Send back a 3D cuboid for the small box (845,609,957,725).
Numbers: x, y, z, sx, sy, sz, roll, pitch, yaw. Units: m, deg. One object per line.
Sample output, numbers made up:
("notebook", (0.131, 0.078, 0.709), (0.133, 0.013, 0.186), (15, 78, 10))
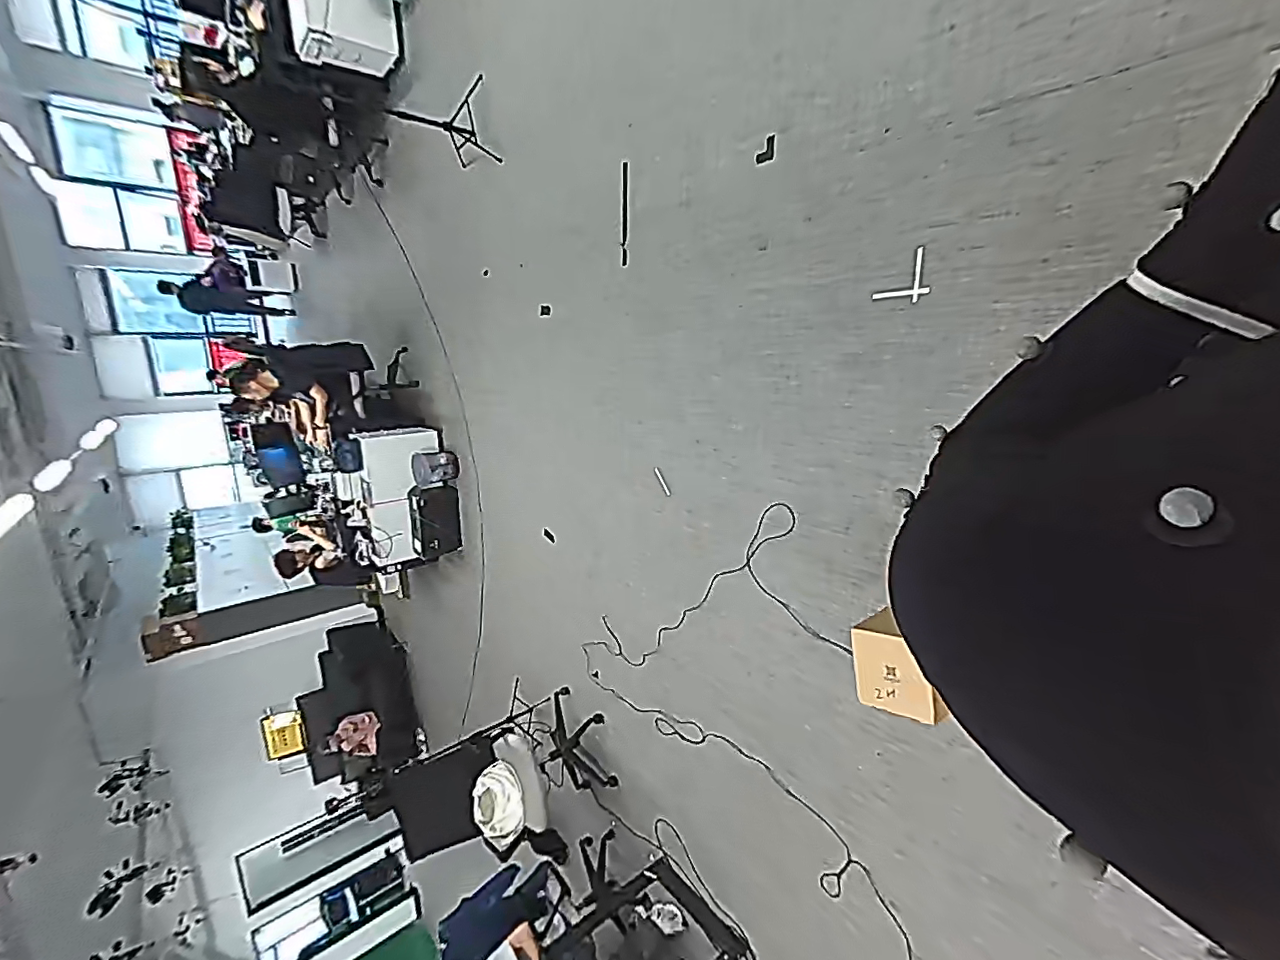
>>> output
("small box", (0.575, 0.397, 1.188), (0.168, 0.176, 0.179), (-2, 97, 51))
